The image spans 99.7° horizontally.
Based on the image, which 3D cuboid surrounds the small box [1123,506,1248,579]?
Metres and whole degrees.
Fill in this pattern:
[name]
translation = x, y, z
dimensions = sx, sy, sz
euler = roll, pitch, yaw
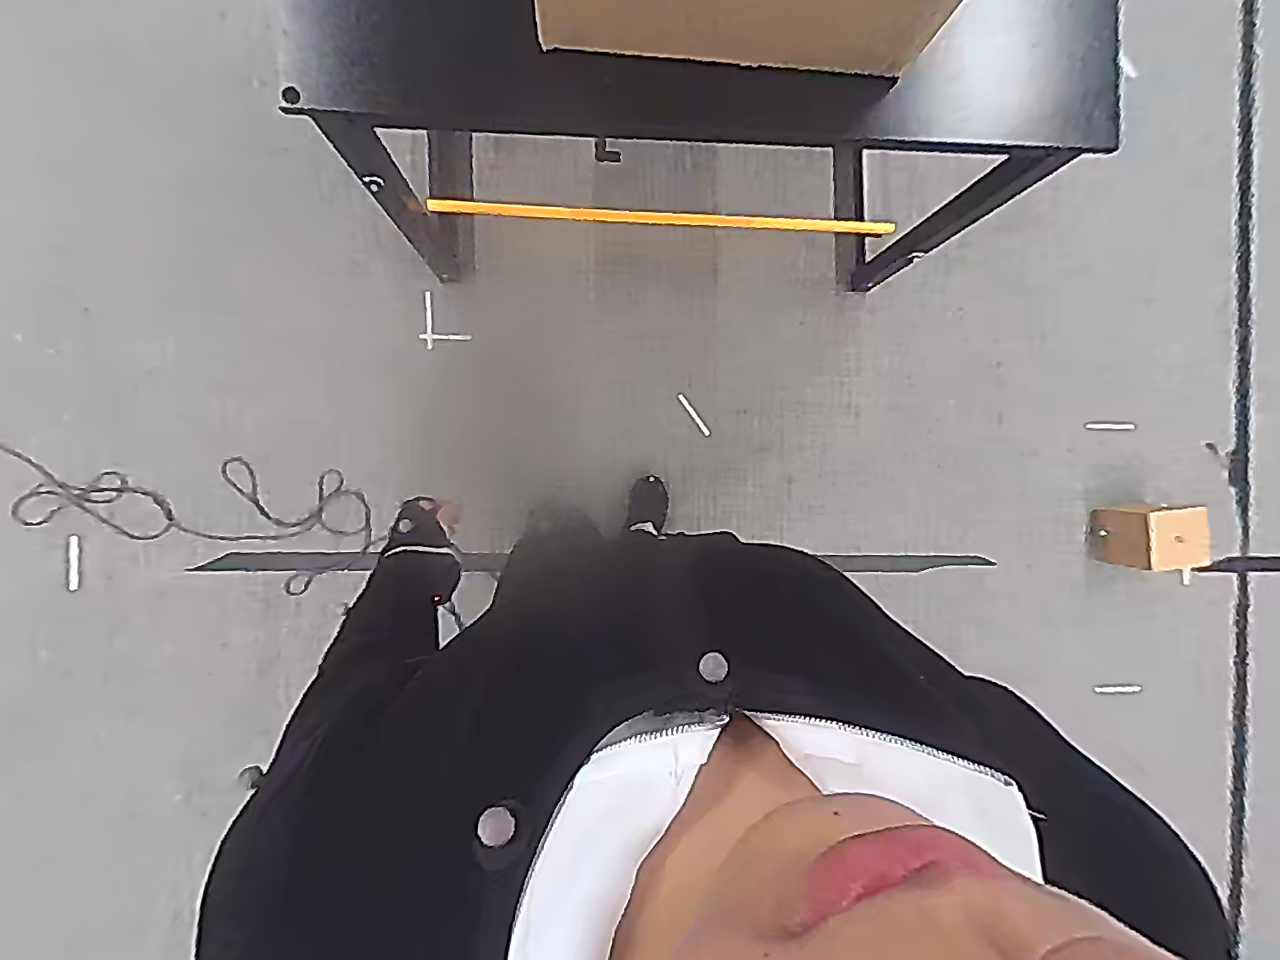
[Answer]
[small box]
translation = 1.487, 0.166, 1.481
dimensions = 0.179, 0.176, 0.168
euler = -7, 92, -4
